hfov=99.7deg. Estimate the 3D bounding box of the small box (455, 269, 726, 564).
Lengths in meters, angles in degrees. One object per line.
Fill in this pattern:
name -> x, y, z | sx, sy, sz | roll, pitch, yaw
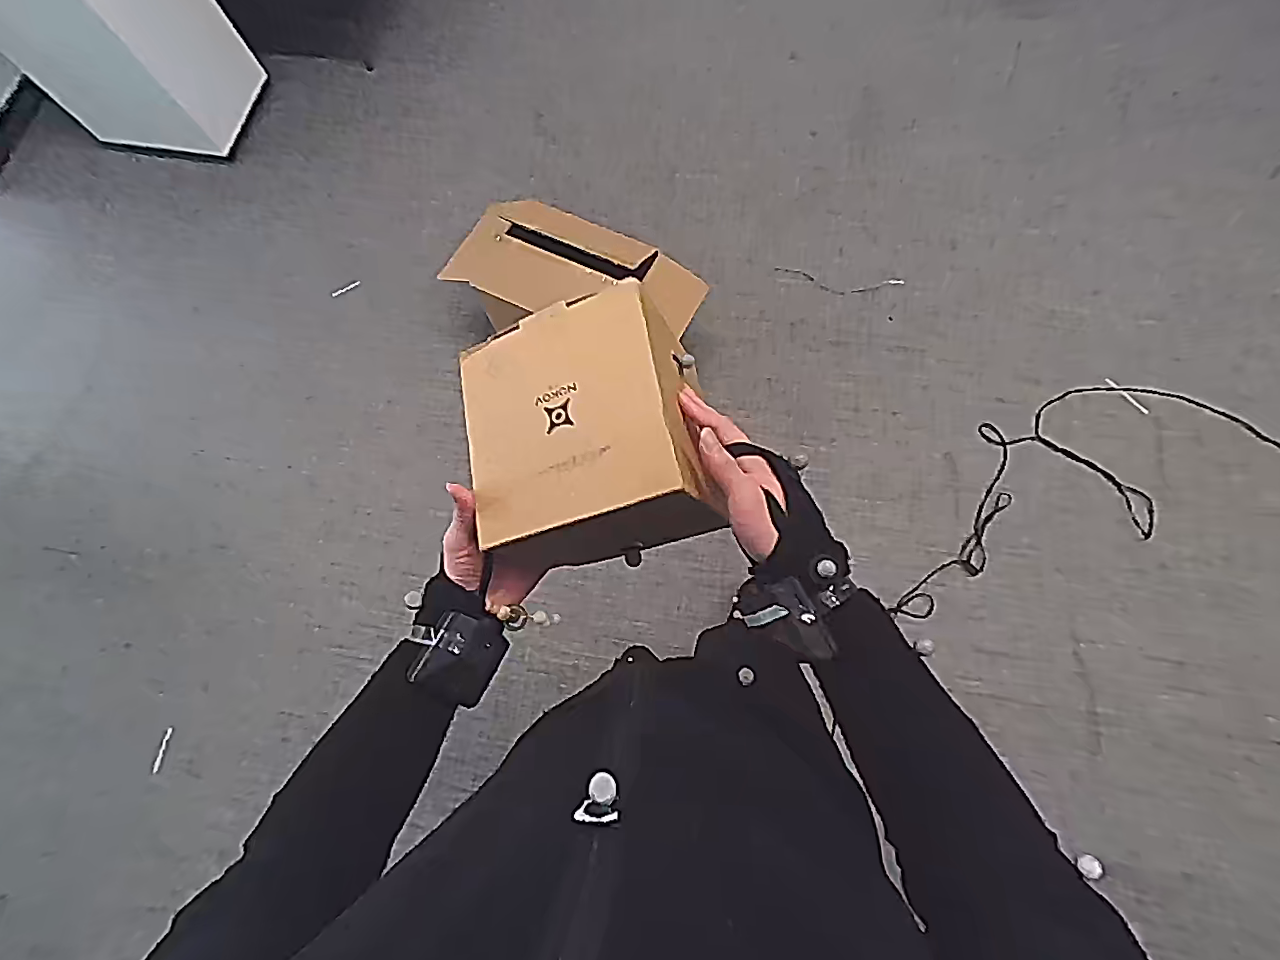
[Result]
small box -> -0.037, -0.036, 0.466 | 0.168, 0.176, 0.179 | -16, 70, 20
